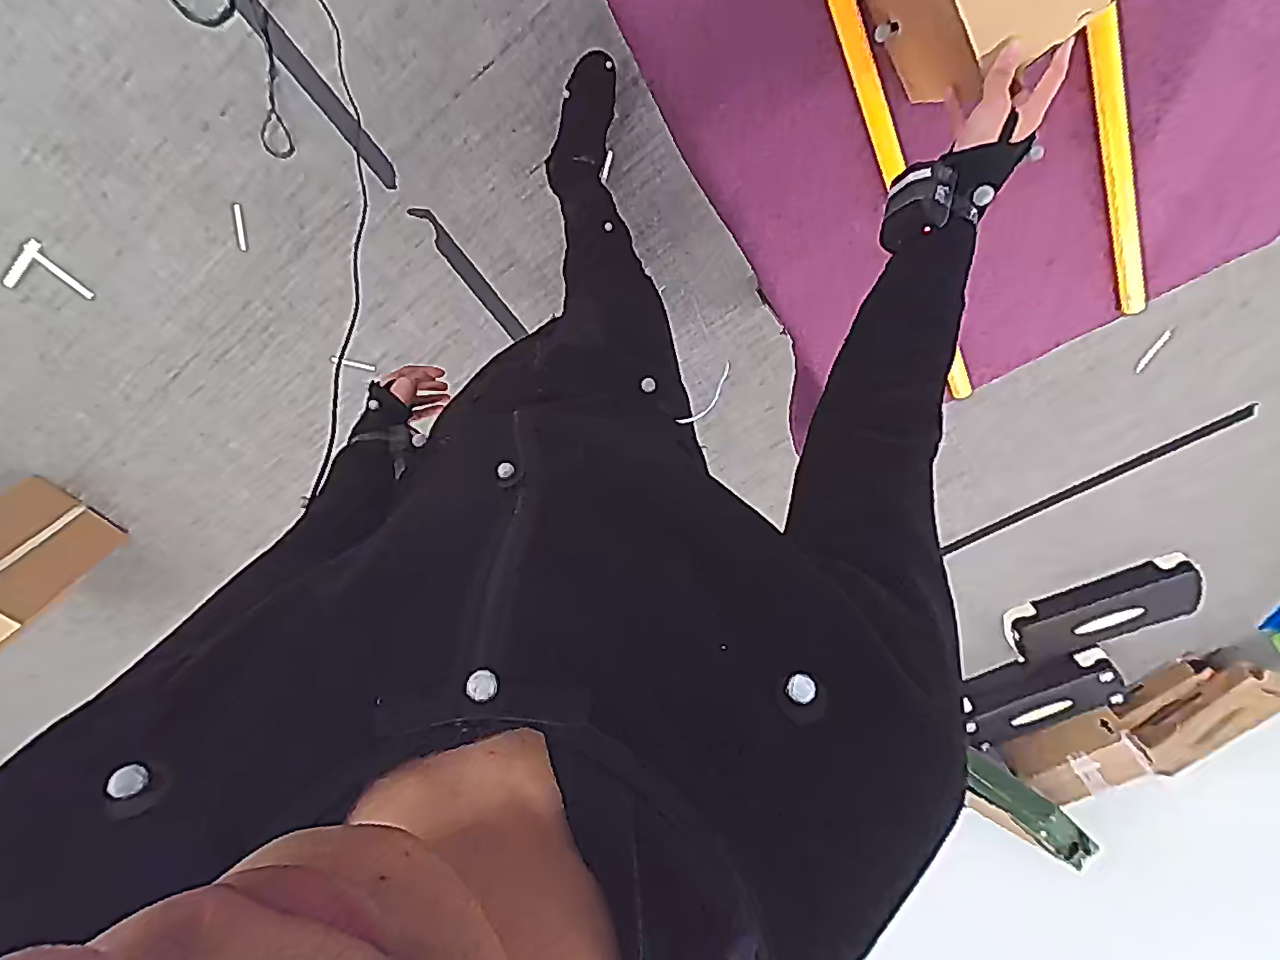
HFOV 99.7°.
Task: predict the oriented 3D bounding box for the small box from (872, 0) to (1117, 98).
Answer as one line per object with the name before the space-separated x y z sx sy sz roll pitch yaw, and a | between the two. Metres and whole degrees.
small box | 0.323 -0.489 0.488 0.168 0.176 0.179 -35 119 21
